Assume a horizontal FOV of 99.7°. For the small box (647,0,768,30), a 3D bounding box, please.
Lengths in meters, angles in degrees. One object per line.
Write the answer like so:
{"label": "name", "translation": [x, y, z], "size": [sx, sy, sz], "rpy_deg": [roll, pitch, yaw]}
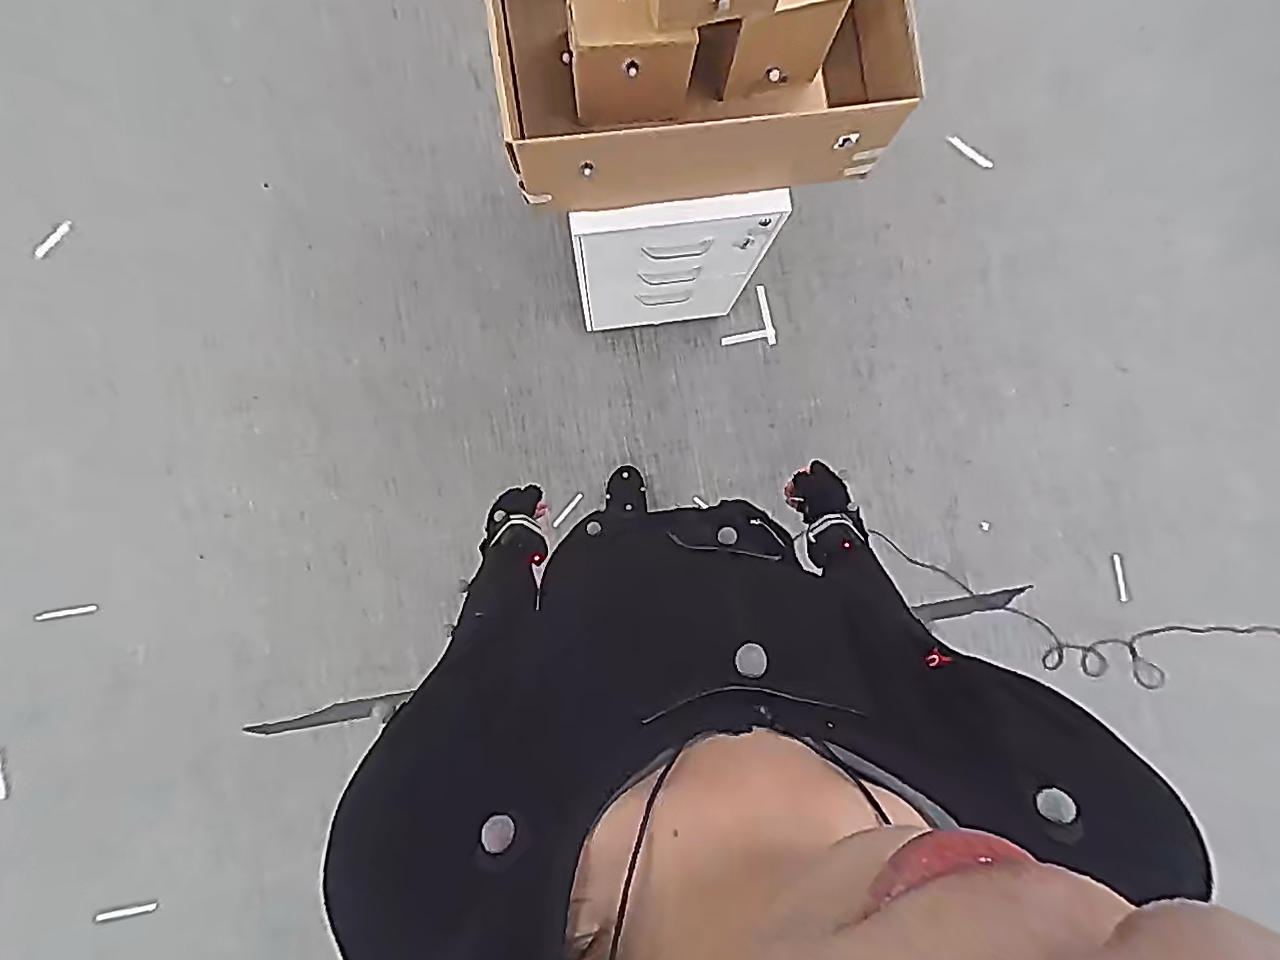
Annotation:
{"label": "small box", "translation": [0.092, -0.714, 0.670], "size": [0.179, 0.176, 0.168], "rpy_deg": [-14, 90, -3]}
